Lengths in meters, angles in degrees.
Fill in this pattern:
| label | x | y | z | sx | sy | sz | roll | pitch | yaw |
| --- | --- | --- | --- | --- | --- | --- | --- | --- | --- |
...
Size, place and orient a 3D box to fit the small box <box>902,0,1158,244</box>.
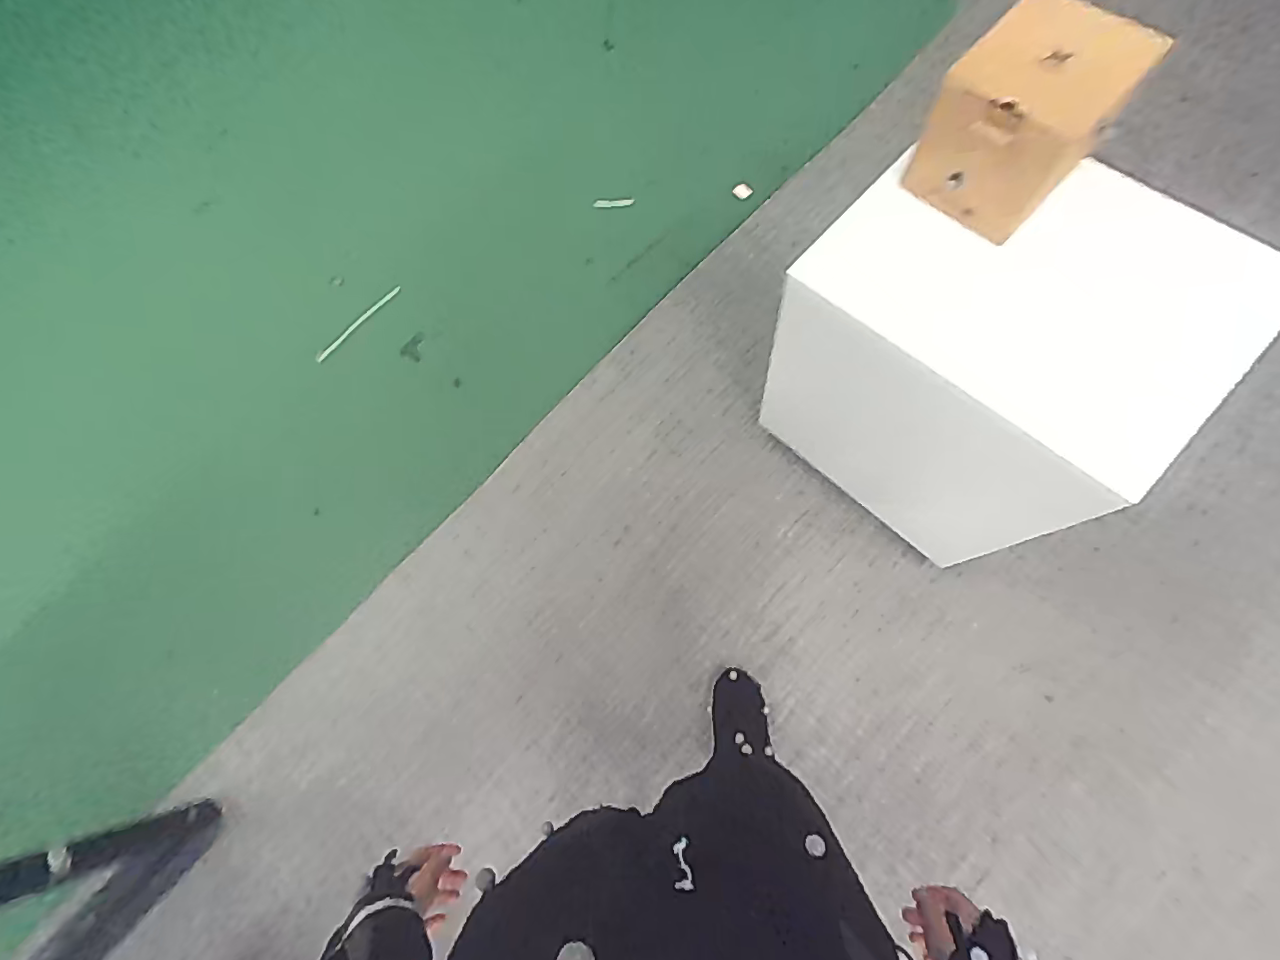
| label | x | y | z | sx | sy | sz | roll | pitch | yaw |
| --- | --- | --- | --- | --- | --- | --- | --- | --- | --- |
| small box | 0.474 | -0.450 | 0.693 | 0.168 | 0.176 | 0.179 | 43 | 84 | 16 |
